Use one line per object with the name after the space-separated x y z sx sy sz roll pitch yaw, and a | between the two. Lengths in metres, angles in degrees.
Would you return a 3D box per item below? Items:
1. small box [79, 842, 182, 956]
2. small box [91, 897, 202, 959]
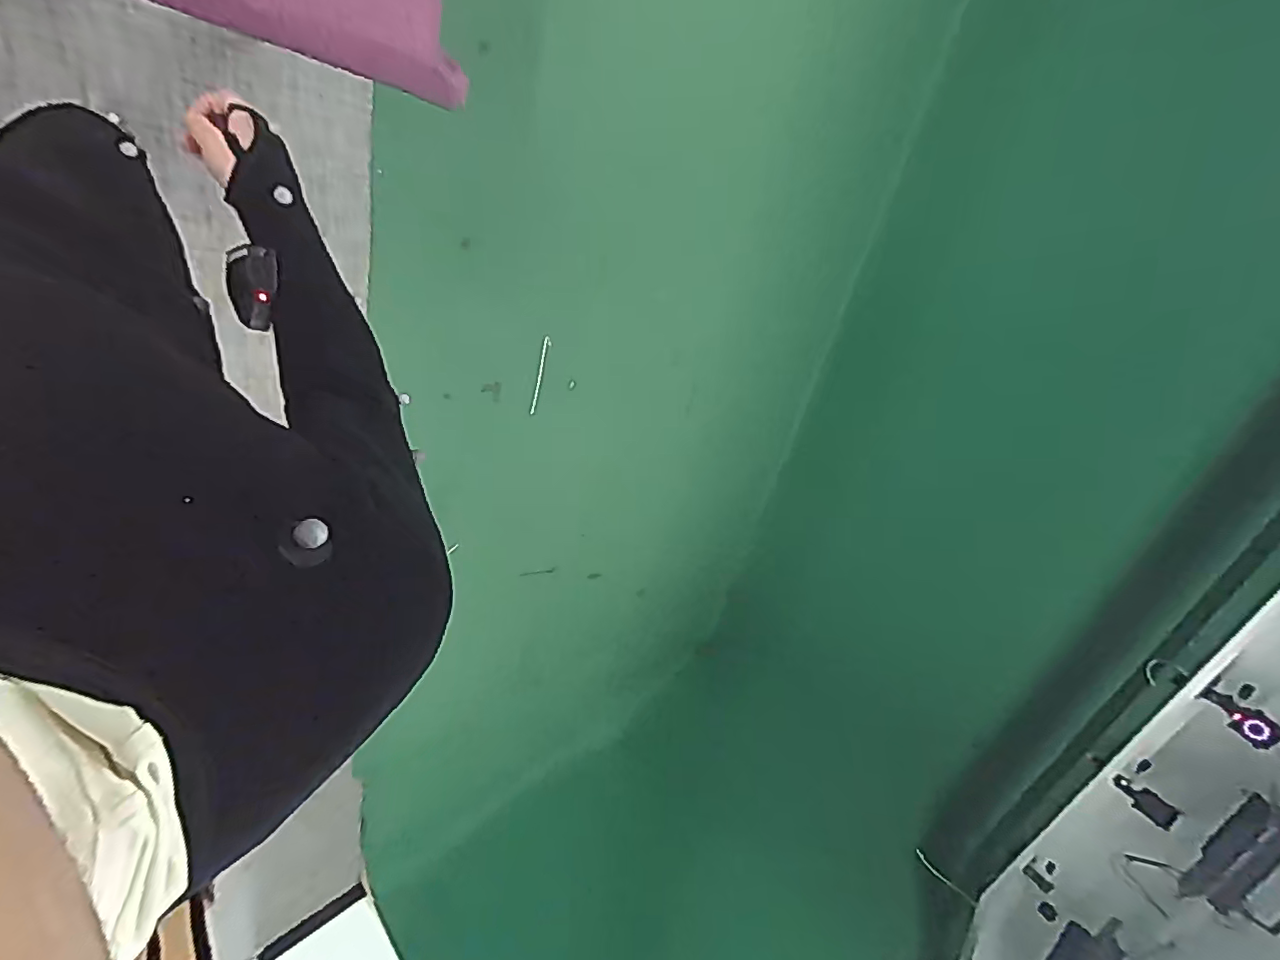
-1.262 1.059 1.347 0.168 0.176 0.179 -12 127 -48 | small box
-1.147 1.136 1.259 0.168 0.176 0.179 -10 125 -50 | small box
